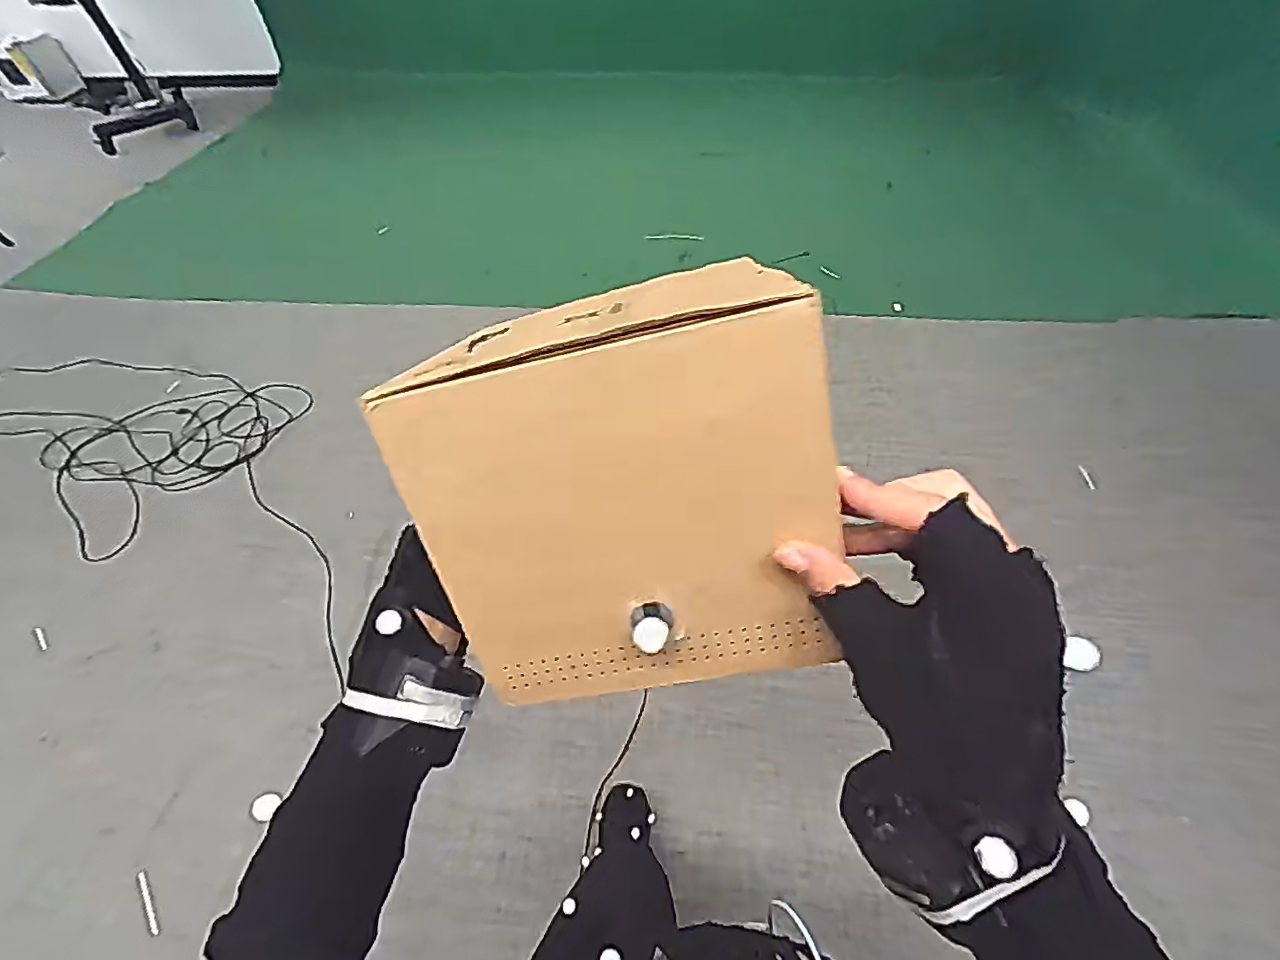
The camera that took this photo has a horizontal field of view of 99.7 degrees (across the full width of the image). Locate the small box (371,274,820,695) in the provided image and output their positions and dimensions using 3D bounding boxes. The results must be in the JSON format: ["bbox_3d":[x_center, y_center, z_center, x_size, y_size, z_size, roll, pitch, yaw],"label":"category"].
[{"bbox_3d":[-0.003,-0.005,0.310,0.179,0.176,0.168,-11,24,9],"label":"small box"}]
